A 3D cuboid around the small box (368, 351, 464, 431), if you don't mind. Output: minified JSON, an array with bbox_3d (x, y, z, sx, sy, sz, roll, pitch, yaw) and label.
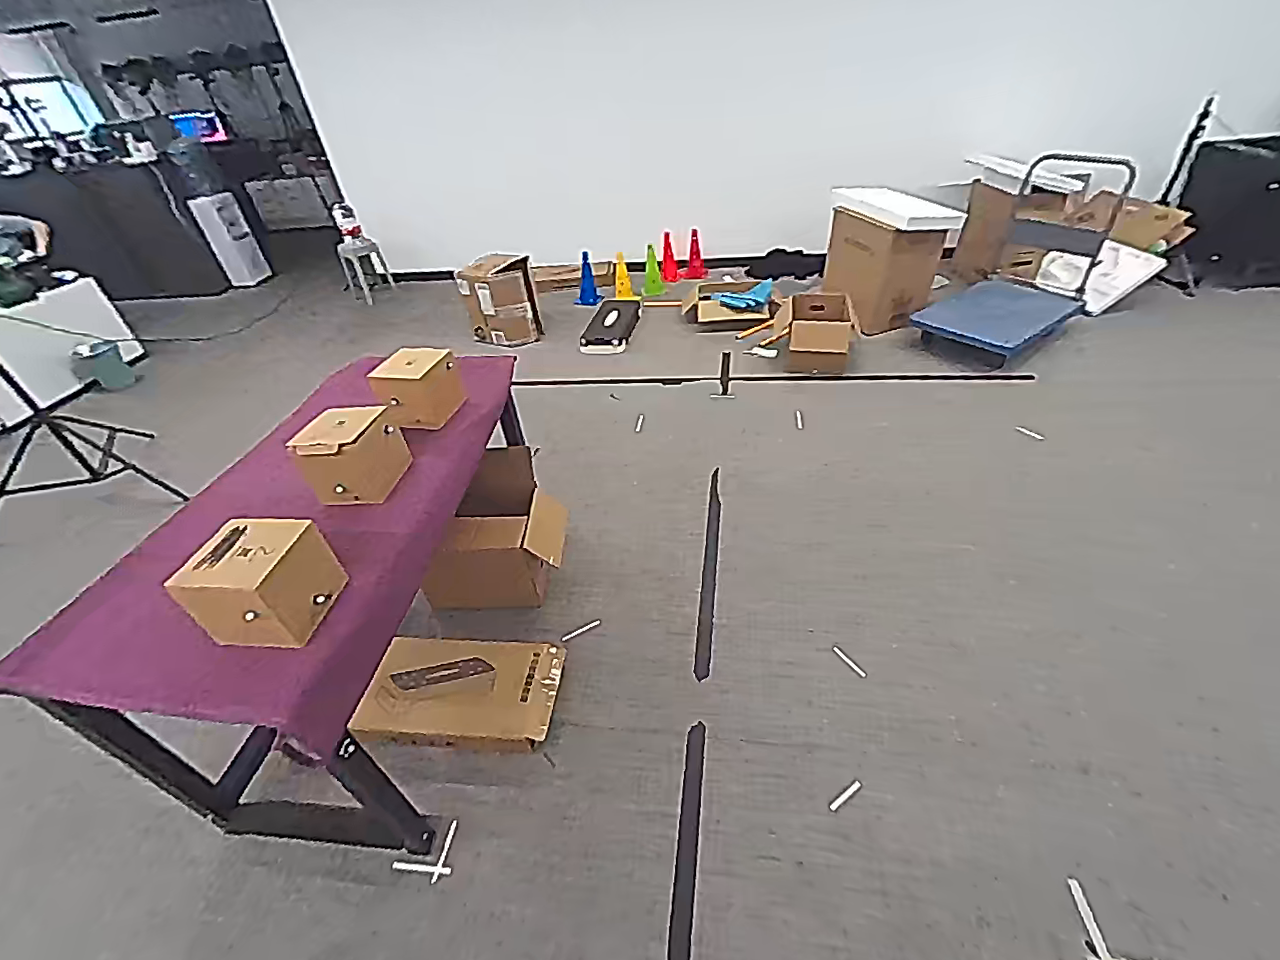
[{"bbox_3d":[-0.629,-0.253,1.546,0.168,0.176,0.179,4,39,13],"label":"small box"}]

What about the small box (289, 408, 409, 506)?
[{"bbox_3d":[-0.685,-0.055,1.304,0.168,0.176,0.179,-2,39,9],"label":"small box"}]
